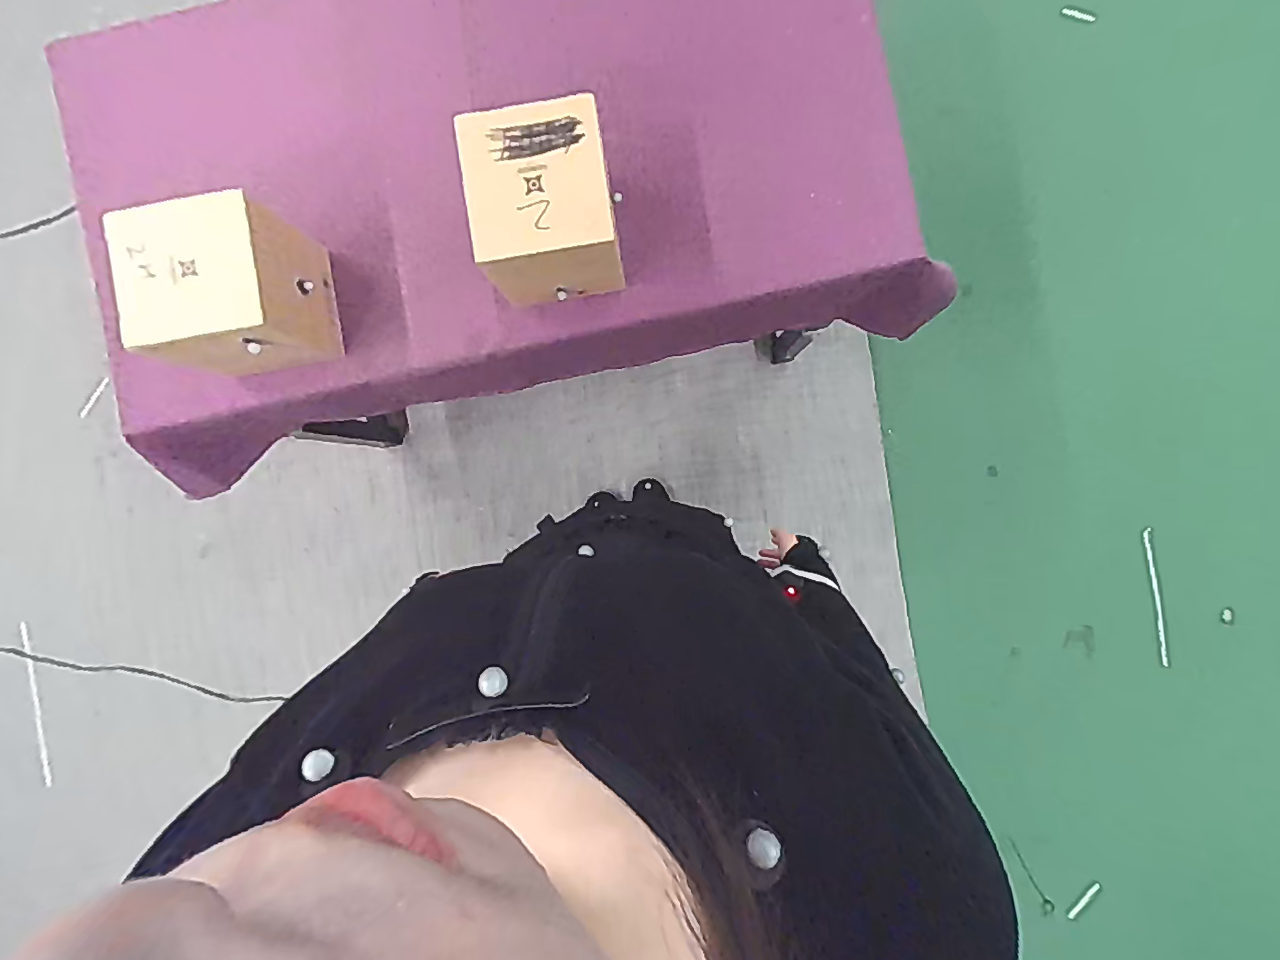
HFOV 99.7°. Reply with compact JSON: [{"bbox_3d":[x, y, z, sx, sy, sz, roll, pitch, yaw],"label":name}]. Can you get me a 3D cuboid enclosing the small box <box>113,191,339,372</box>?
[{"bbox_3d":[-0.532,-0.251,0.725,0.179,0.176,0.168,-9,89,3],"label":"small box"}]
